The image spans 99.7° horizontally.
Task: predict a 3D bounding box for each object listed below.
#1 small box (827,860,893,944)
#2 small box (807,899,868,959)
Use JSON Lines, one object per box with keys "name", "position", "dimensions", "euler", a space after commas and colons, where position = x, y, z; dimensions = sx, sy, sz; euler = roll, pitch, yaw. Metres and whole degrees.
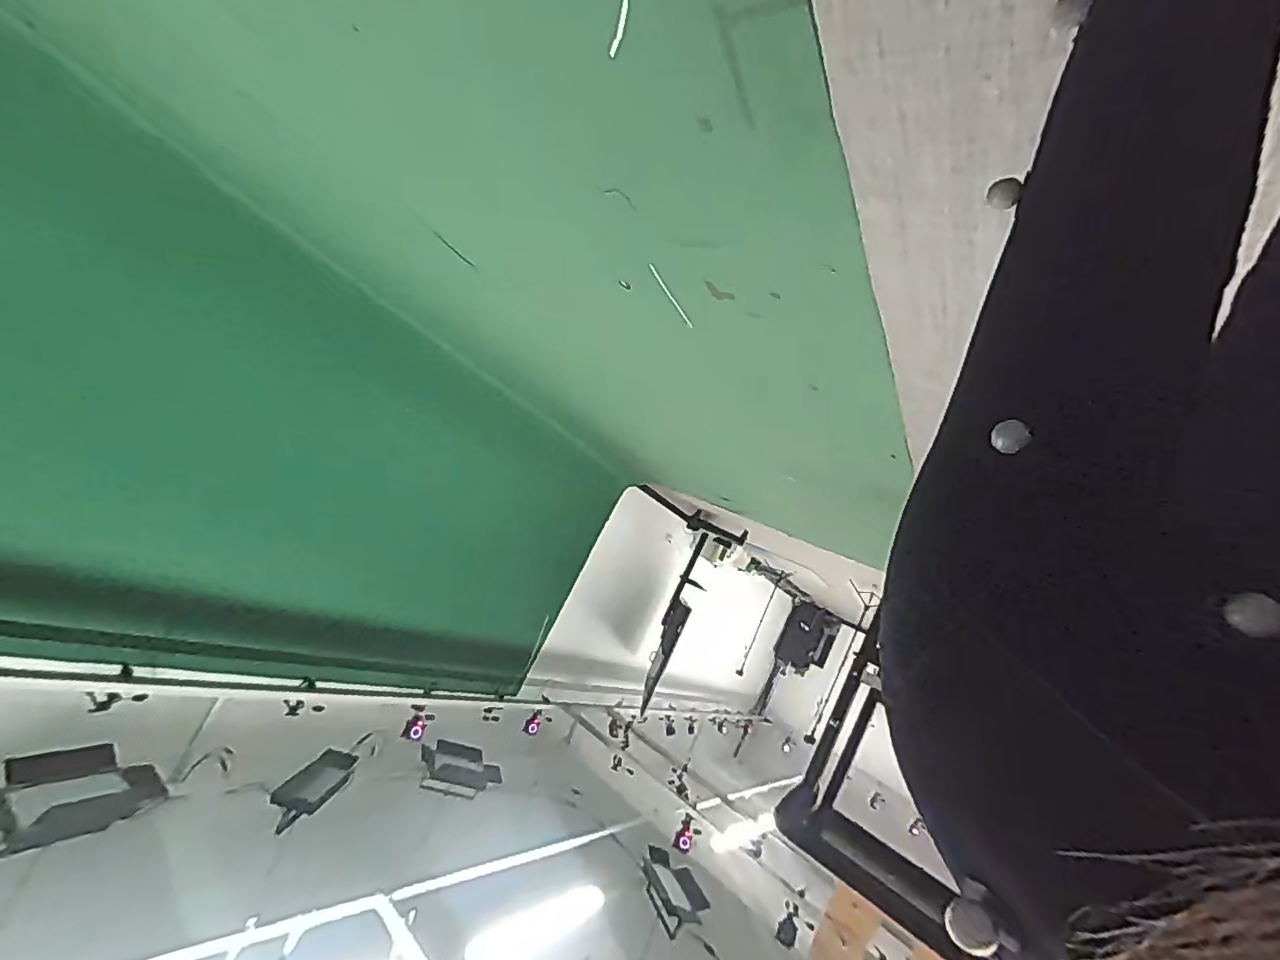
{"name": "small box", "position": [0.819, 1.556, 2.008], "dimensions": [0.168, 0.176, 0.179], "euler": [21, 170, 36]}
{"name": "small box", "position": [0.738, 1.697, 1.991], "dimensions": [0.168, 0.176, 0.179], "euler": [20, 169, 33]}
